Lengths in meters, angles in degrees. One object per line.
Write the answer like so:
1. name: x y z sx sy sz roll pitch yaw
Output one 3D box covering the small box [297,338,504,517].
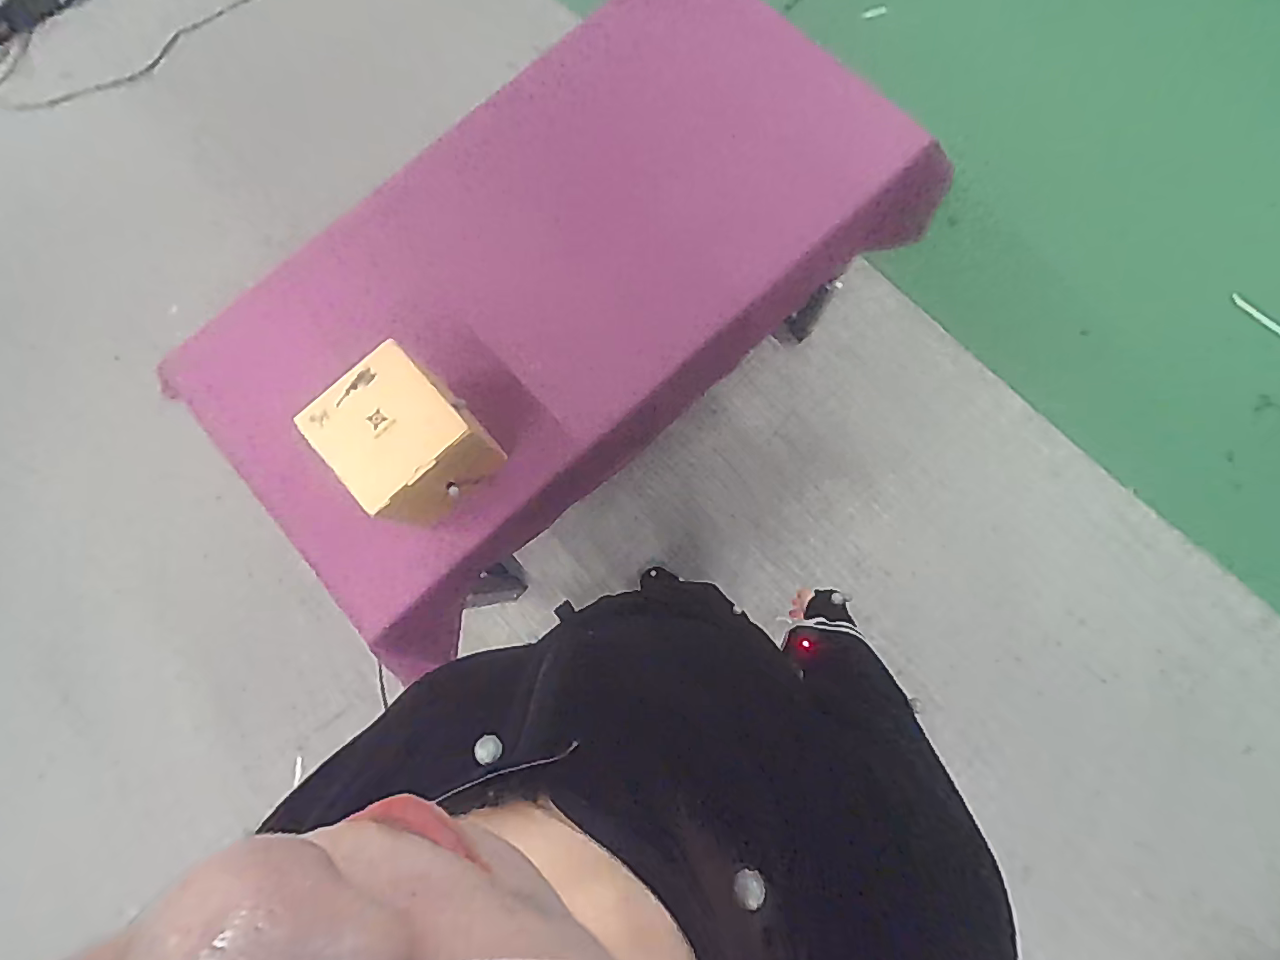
1. small box: -0.324 -0.061 0.771 0.168 0.176 0.179 -42 80 -4
